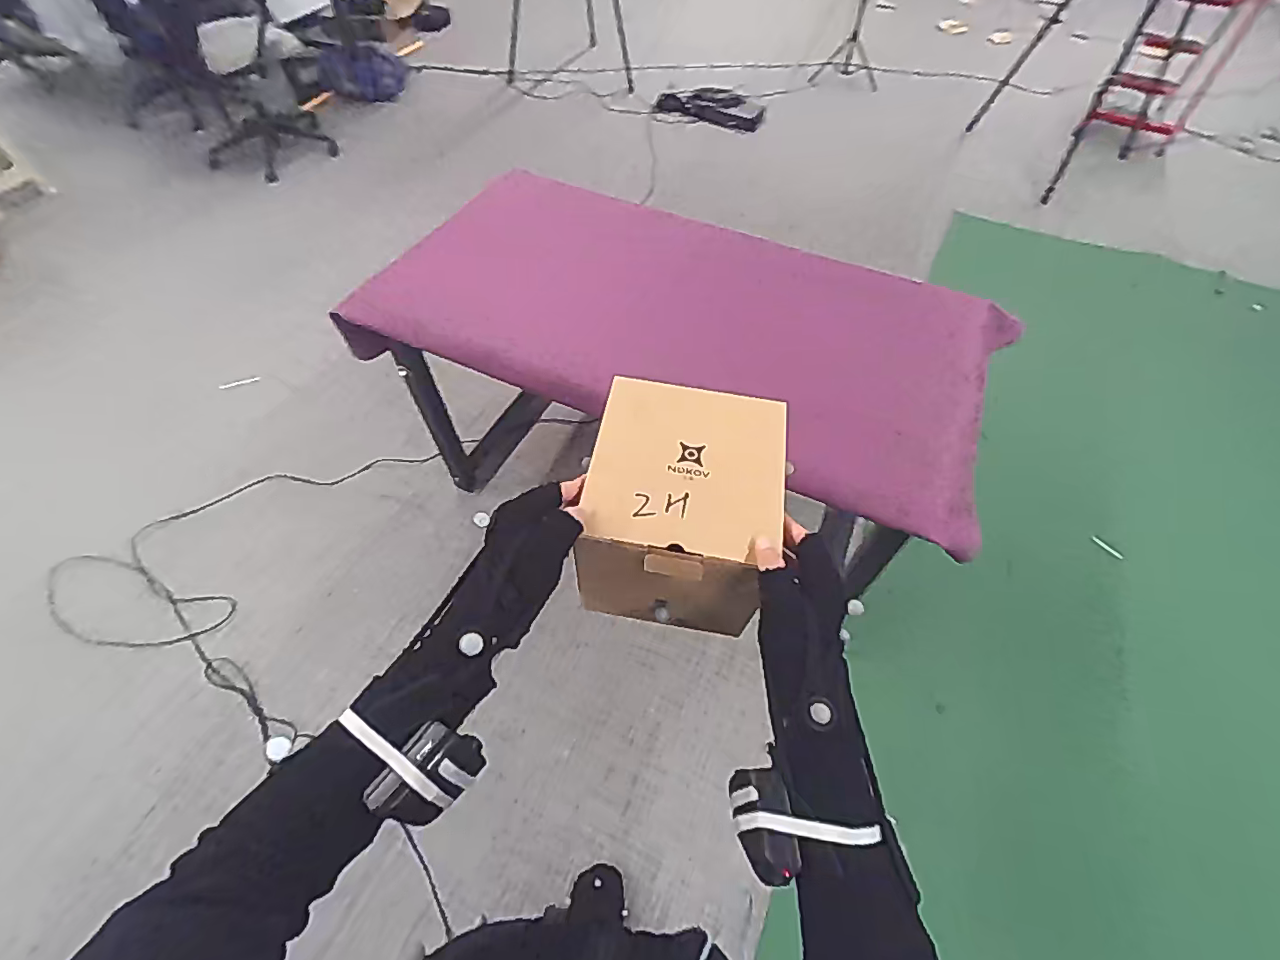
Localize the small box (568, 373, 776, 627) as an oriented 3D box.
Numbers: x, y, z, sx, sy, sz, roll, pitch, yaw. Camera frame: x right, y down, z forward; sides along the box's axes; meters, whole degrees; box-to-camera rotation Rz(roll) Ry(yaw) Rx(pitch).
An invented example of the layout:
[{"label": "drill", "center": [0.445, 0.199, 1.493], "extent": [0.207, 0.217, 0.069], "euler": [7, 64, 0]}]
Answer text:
[{"label": "small box", "center": [0.032, 0.024, 0.538], "extent": [0.168, 0.176, 0.179], "euler": [9, 57, 4]}]
